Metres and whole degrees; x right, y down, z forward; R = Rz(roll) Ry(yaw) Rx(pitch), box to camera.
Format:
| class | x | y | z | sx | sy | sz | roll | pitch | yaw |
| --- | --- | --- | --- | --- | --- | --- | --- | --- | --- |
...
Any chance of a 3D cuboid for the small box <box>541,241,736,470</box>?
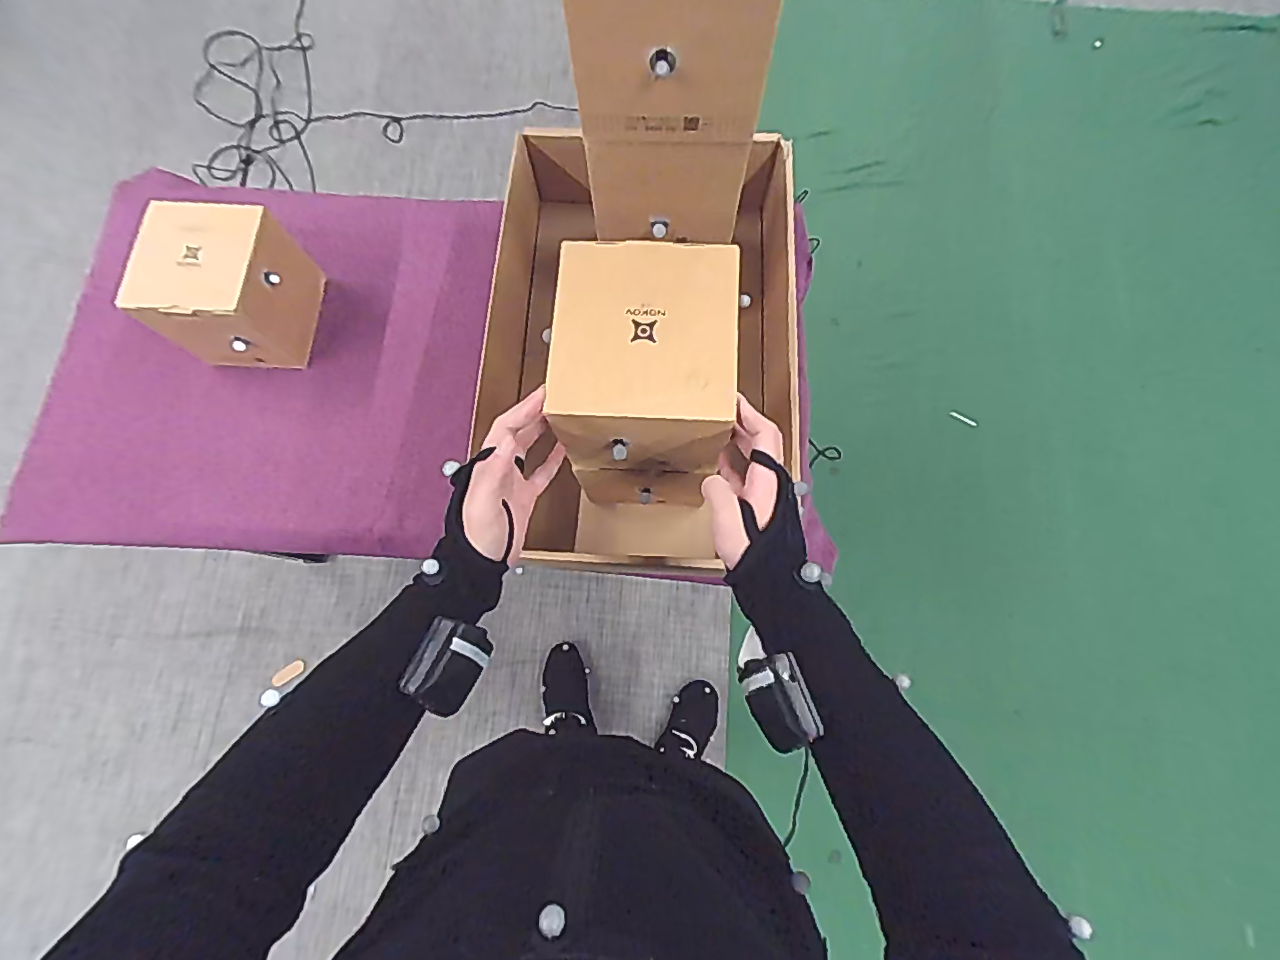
| class | x | y | z | sx | sy | sz | roll | pitch | yaw |
| --- | --- | --- | --- | --- | --- | --- | --- | --- | --- |
| small box | 0.005 | -0.114 | 0.554 | 0.168 | 0.176 | 0.179 | 3 | 75 | 3 |

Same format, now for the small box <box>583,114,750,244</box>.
| class | x | y | z | sx | sy | sz | roll | pitch | yaw |
| --- | --- | --- | --- | --- | --- | --- | --- | --- | --- |
| small box | 0.030 | -0.392 | 0.623 | 0.168 | 0.176 | 0.179 | 1 | 77 | 2 |

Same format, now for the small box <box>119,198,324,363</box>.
| class | x | y | z | sx | sy | sz | roll | pitch | yaw |
| --- | --- | --- | --- | --- | --- | --- | --- | --- | --- |
| small box | -0.619 | -0.294 | 0.827 | 0.168 | 0.176 | 0.179 | 4 | 75 | 0 |

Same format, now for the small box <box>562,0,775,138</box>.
| class | x | y | z | sx | sy | sz | roll | pitch | yaw |
| --- | --- | --- | --- | --- | --- | --- | --- | --- | --- |
| small box | 0.027 | -0.428 | 0.461 | 0.168 | 0.176 | 0.179 | 3 | 76 | 2 |
